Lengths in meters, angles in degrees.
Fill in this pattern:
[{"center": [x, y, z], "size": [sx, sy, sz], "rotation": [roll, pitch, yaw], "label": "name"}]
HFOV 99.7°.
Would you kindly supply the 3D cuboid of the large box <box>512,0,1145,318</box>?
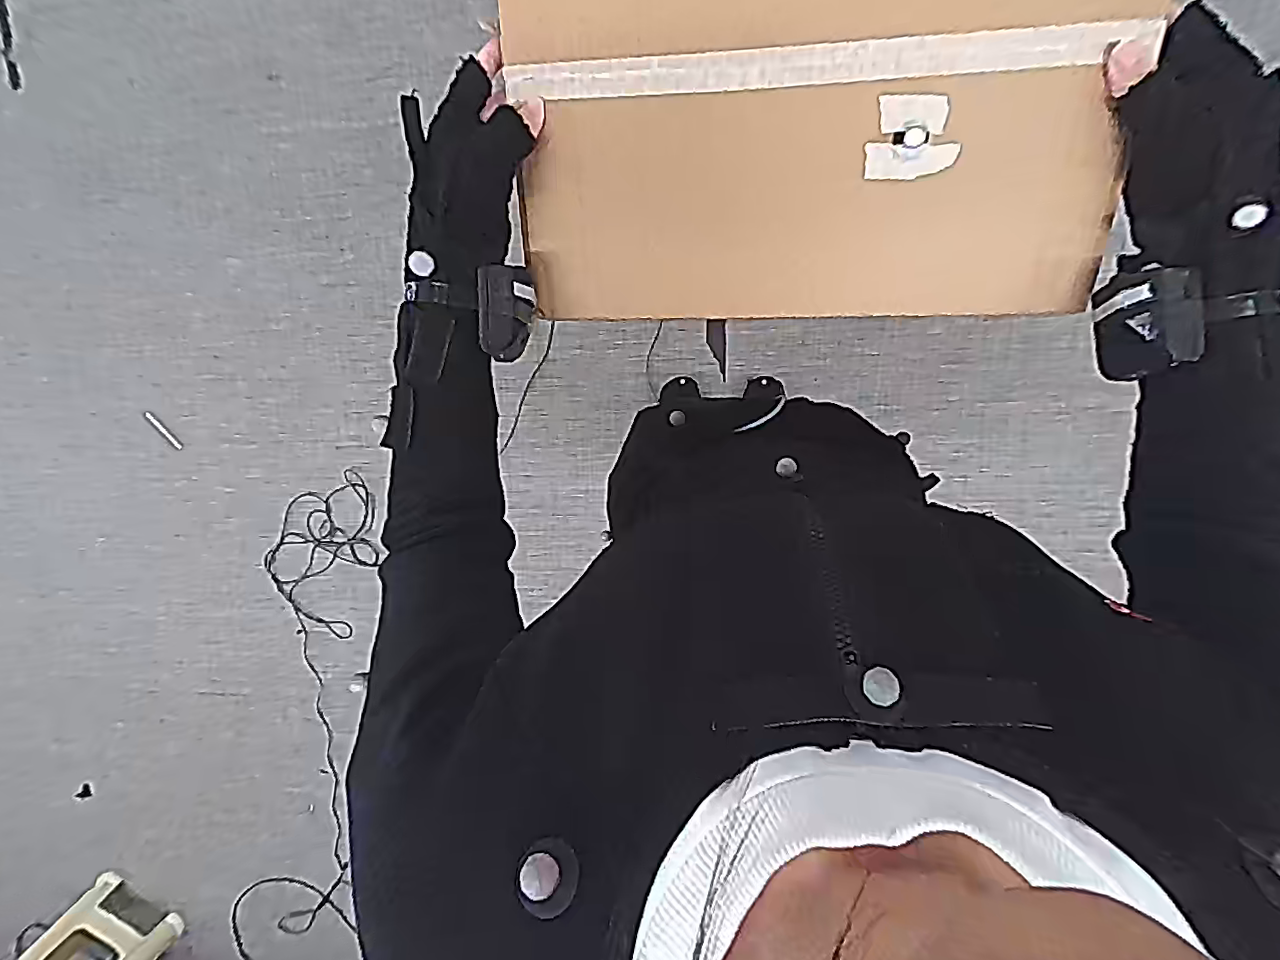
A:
[{"center": [0.126, -0.331, 0.497], "size": [0.408, 0.320, 0.320], "rotation": [1, 113, 6], "label": "large box"}]
